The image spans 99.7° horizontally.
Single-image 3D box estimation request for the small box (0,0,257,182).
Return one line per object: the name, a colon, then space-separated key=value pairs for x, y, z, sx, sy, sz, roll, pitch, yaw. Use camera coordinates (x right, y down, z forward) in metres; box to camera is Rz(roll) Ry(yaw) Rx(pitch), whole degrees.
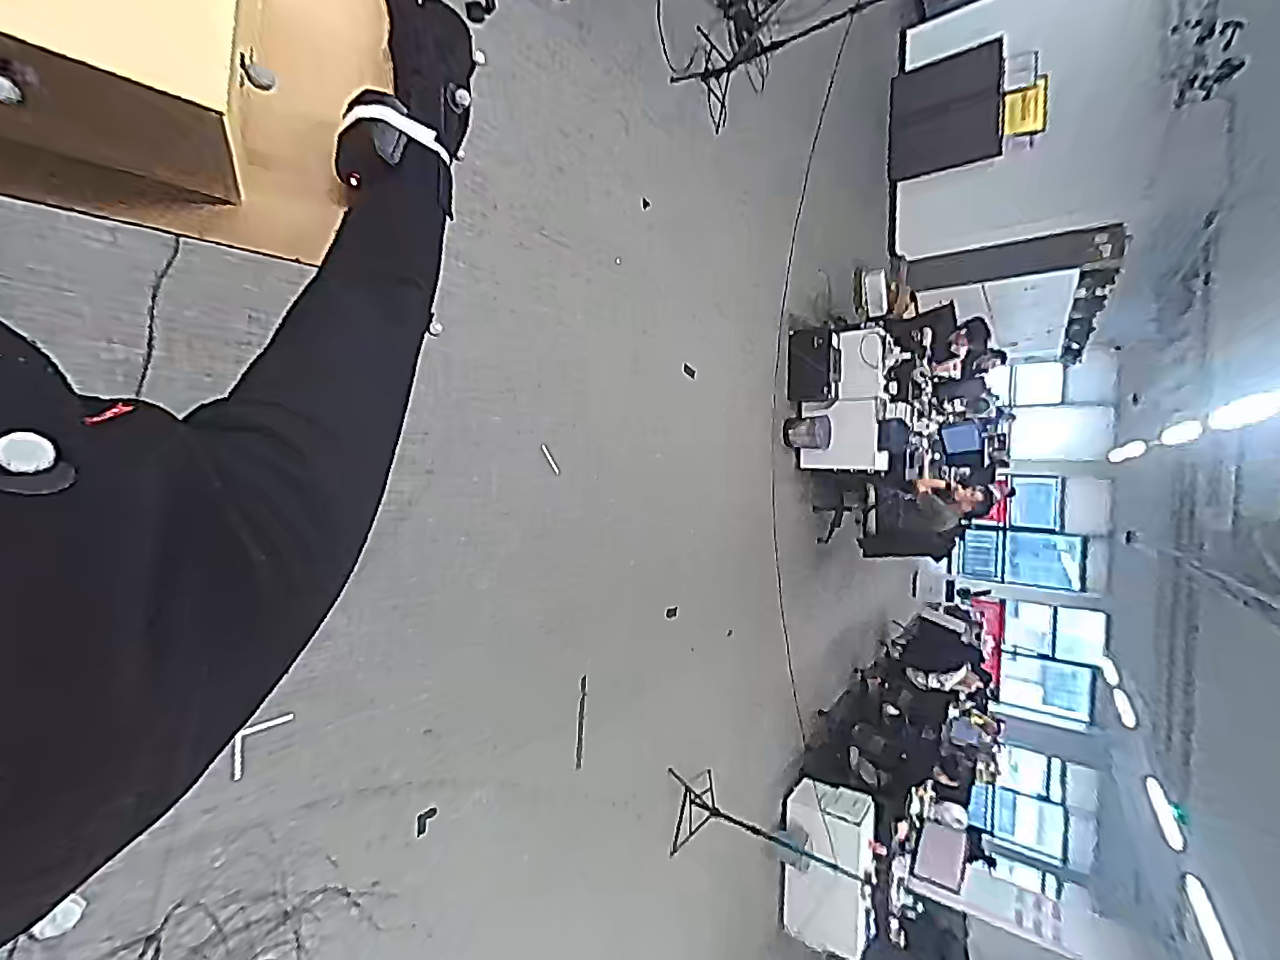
small box: x=-0.336 y=-0.301 z=0.311 sx=0.179 sy=0.176 sz=0.168 roll=6 pitch=94 yaw=-33
